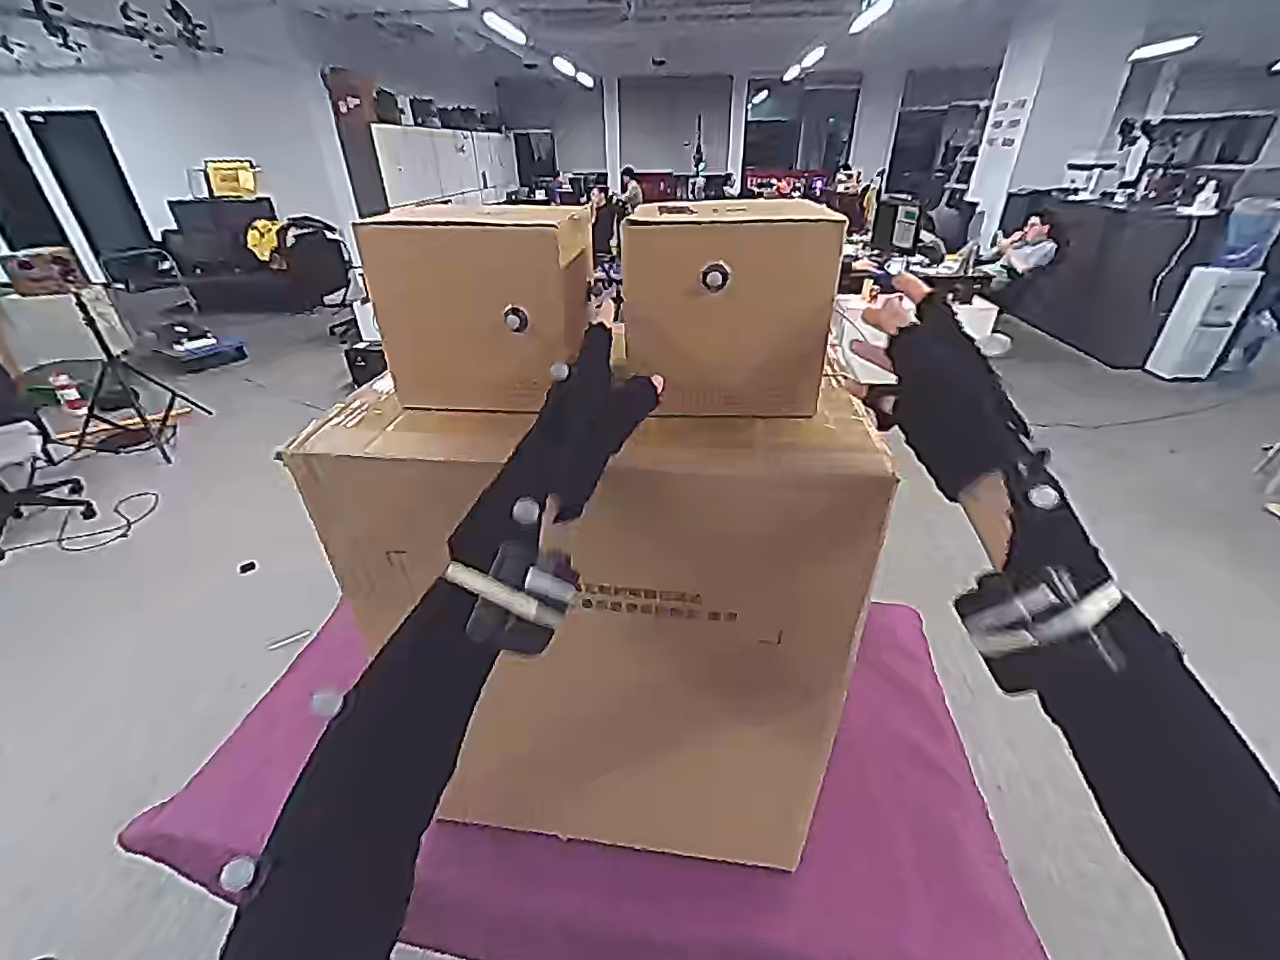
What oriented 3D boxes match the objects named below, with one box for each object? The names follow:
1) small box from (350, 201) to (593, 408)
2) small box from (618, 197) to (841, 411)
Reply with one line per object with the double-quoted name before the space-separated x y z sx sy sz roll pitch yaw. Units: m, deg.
"small box" -0.145 -0.179 0.546 0.179 0.176 0.168 1 31 4
"small box" 0.077 -0.174 0.527 0.179 0.176 0.168 1 31 4
